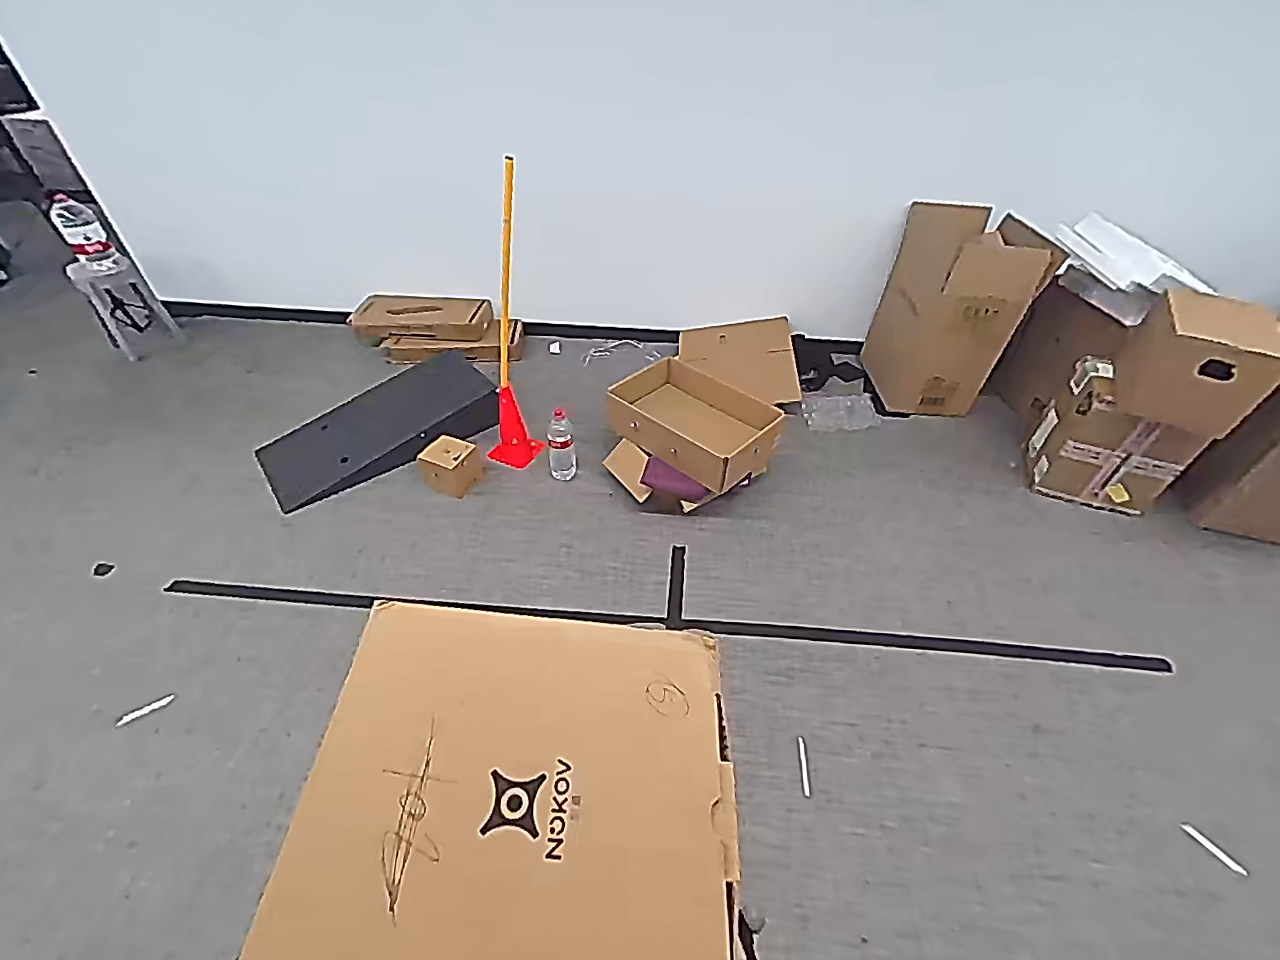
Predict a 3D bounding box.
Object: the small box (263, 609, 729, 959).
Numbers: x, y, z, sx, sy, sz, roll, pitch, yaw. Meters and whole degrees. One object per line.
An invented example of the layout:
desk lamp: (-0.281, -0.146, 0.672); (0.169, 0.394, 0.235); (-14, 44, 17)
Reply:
small box: (-0.060, 0.190, 0.298); (0.179, 0.176, 0.168); (7, 50, -5)
